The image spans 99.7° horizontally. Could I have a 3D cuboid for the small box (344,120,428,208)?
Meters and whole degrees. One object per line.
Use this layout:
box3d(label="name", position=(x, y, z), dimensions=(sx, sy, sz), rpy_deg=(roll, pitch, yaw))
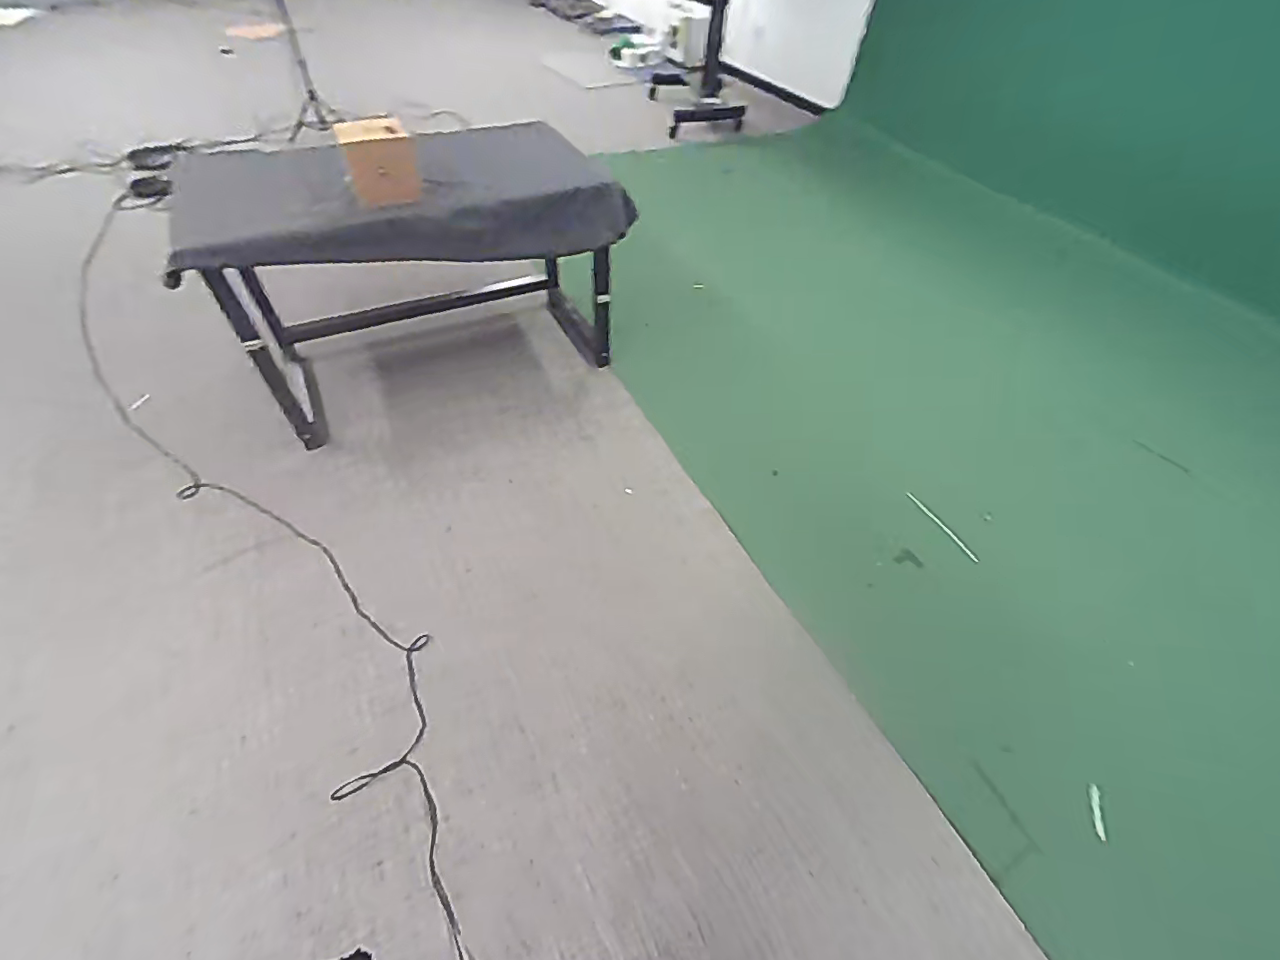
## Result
box3d(label="small box", position=(-0.710, -0.888, 1.523), dimensions=(0.179, 0.176, 0.168), rpy_deg=(-16, 50, -17))
